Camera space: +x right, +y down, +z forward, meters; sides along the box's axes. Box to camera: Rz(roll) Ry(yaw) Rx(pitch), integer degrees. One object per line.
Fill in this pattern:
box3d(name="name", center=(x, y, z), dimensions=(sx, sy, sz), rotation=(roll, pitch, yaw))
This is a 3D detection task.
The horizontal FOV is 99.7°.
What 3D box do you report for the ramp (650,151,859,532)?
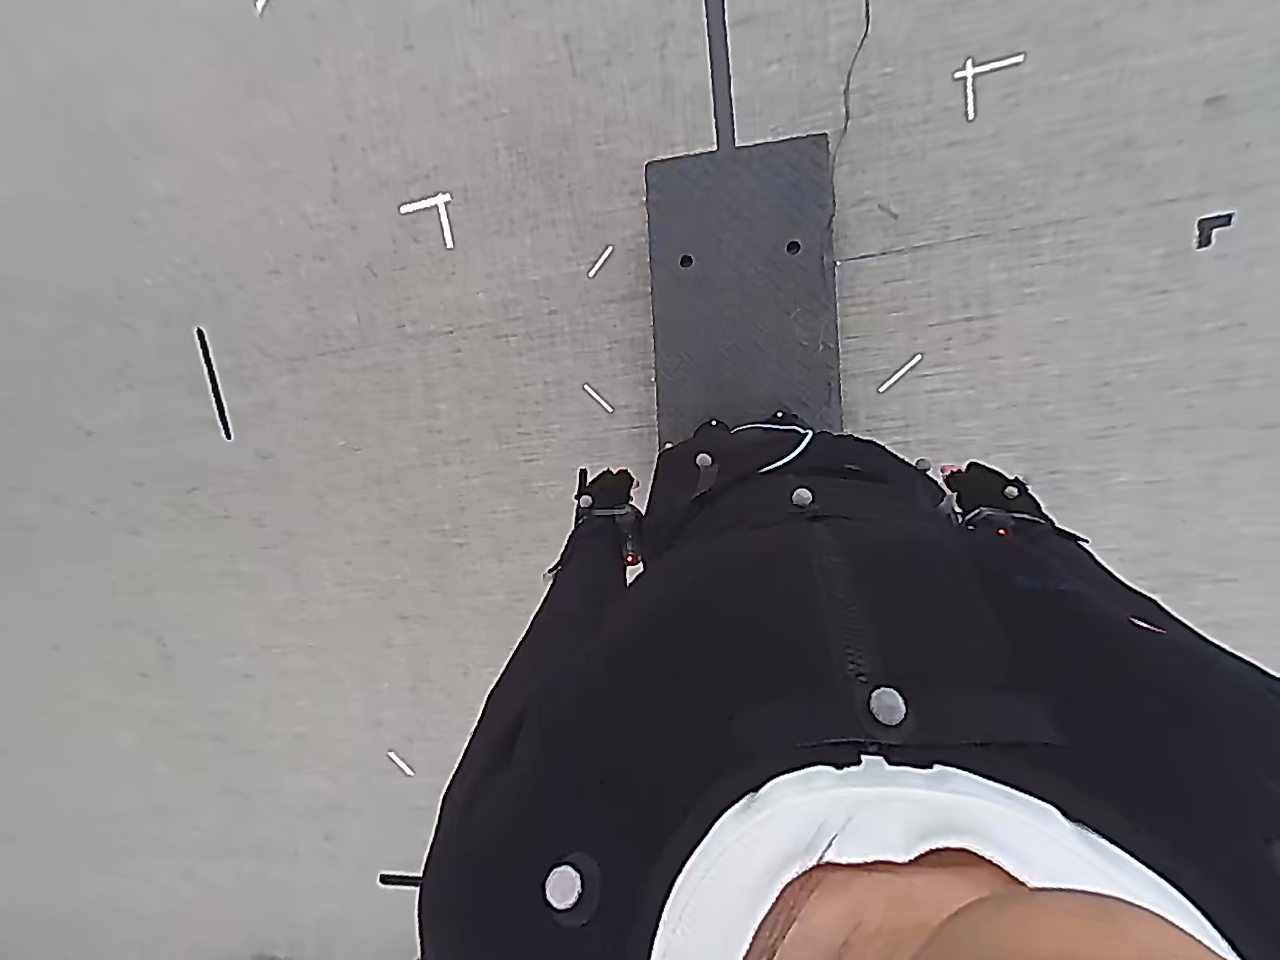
box3d(name="ramp", center=(0.296, -0.366, 1.476), dimensions=(0.509, 0.206, 0.991), rotation=(-6, 97, 13))
